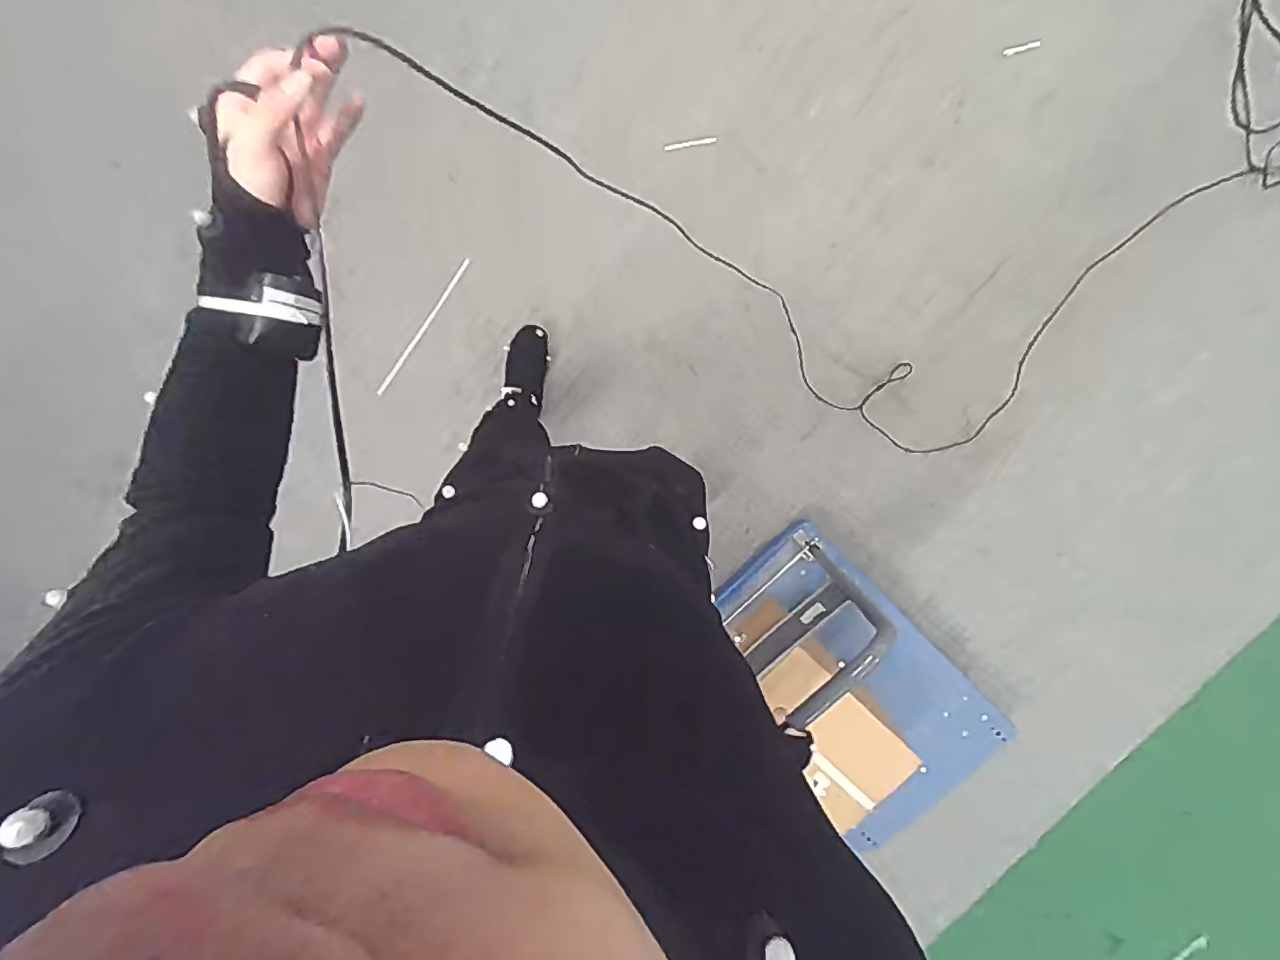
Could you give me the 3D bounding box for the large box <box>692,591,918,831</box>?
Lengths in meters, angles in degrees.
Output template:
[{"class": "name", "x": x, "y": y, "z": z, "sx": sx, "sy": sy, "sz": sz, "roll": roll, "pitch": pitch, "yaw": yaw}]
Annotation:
[{"class": "large box", "x": 0.388, "y": 0.561, "z": 1.376, "sx": 0.408, "sy": 0.320, "sz": 0.320, "roll": 43, "pitch": 98, "yaw": -5}]
